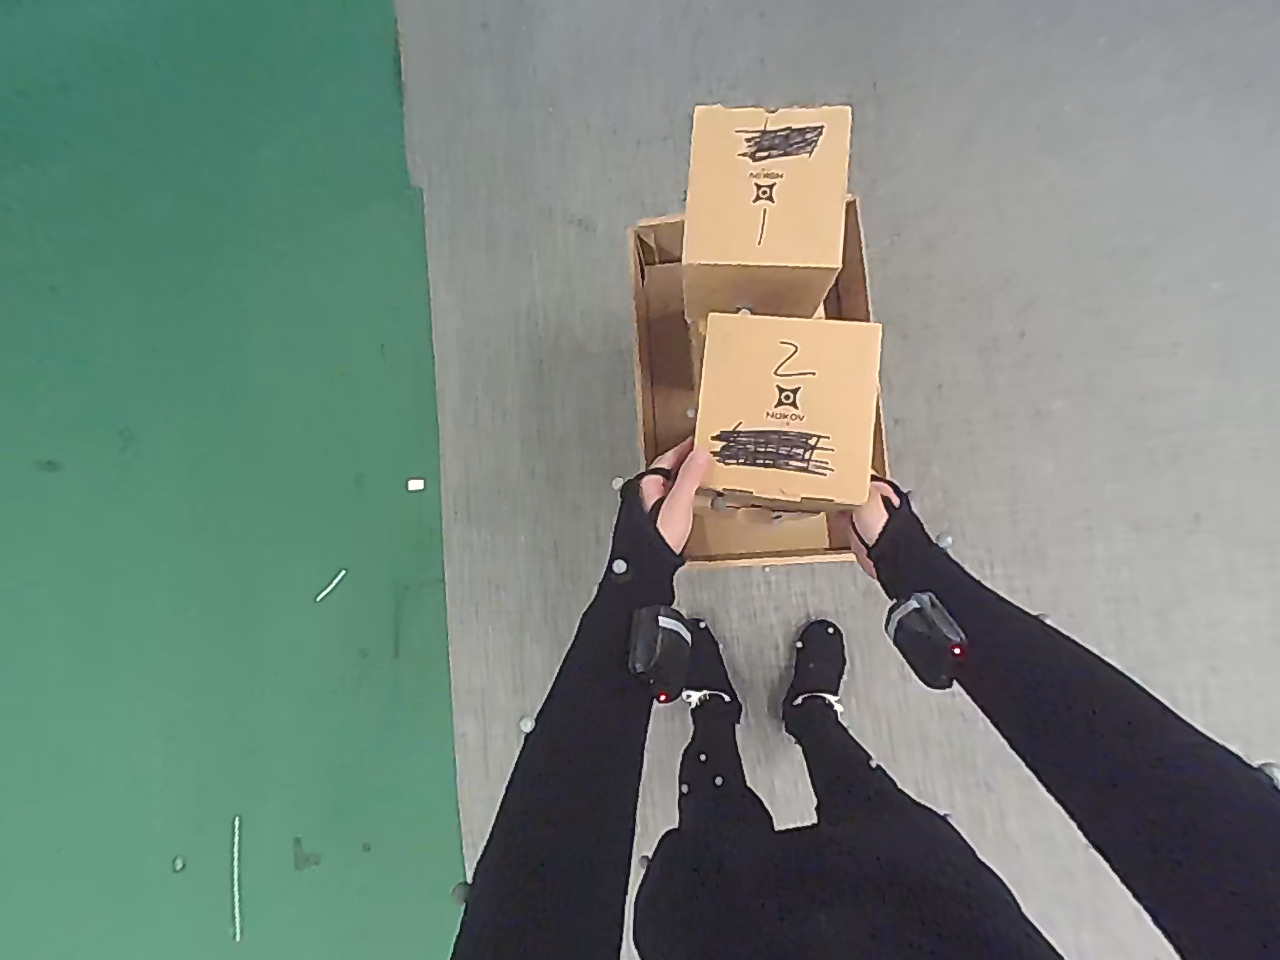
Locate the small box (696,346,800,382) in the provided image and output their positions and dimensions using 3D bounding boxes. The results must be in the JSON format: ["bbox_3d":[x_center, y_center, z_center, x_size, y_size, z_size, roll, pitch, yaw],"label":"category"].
[{"bbox_3d":[0.183,-0.268,0.970,0.168,0.176,0.179,-5,84,7],"label":"small box"}]

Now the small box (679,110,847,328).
[{"bbox_3d":[0.138,-0.301,0.649,0.168,0.176,0.179,4,86,7],"label":"small box"}]

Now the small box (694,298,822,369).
[{"bbox_3d":[0.163,-0.282,0.810,0.168,0.176,0.179,-5,85,6],"label":"small box"}]

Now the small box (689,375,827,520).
[{"bbox_3d":[0.163,-0.037,0.777,0.168,0.176,0.179,5,83,7],"label":"small box"}]
